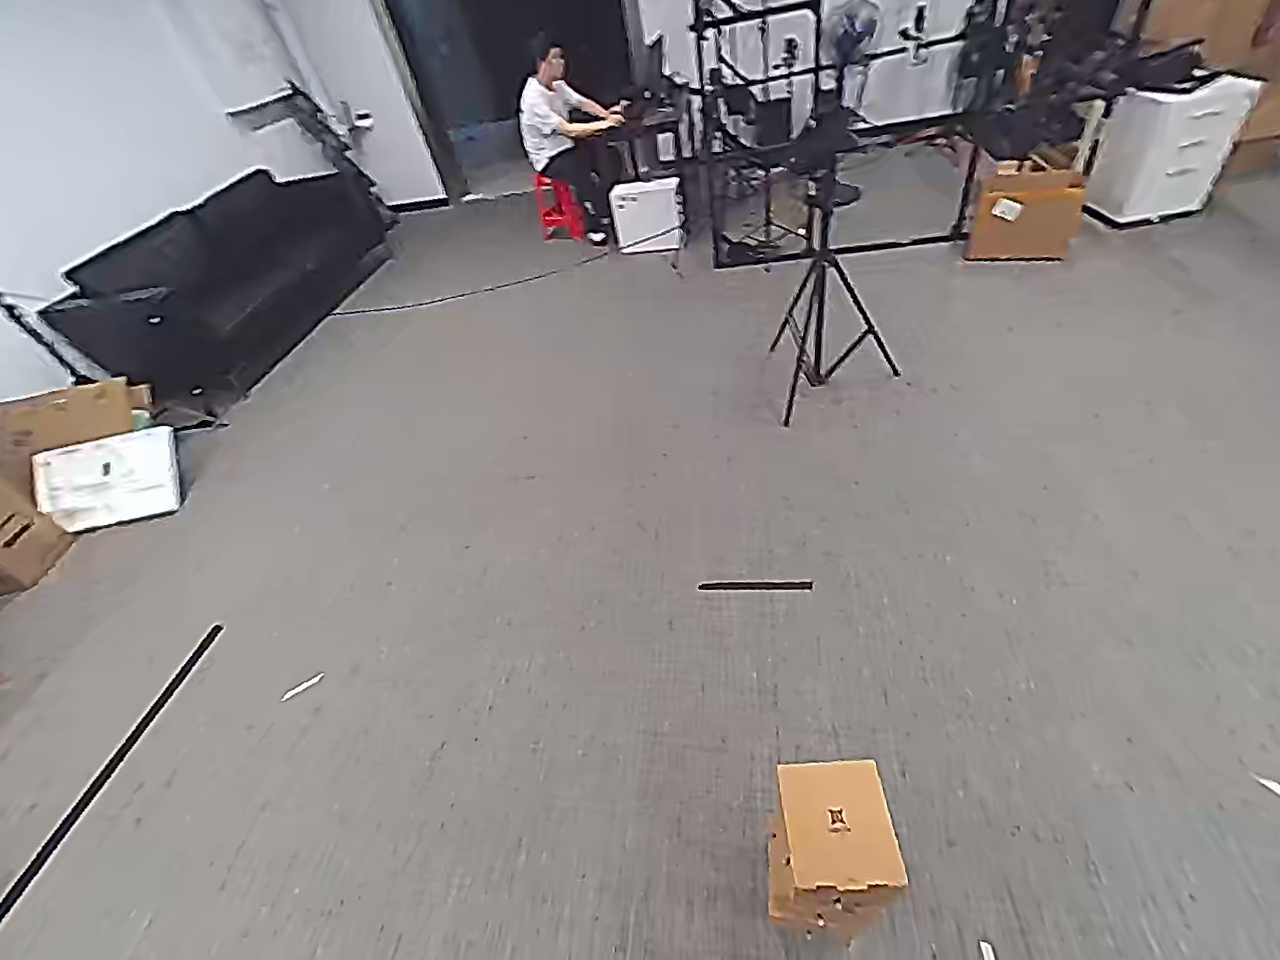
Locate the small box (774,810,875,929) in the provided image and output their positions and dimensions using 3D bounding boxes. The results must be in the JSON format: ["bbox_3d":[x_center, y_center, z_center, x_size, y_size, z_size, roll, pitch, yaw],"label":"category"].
[{"bbox_3d":[0.343,0.713,1.024,0.168,0.176,0.179,0,45,16],"label":"small box"}]

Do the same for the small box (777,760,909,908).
[{"bbox_3d":[0.327,0.597,0.911,0.168,0.176,0.179,-7,44,7],"label":"small box"}]
